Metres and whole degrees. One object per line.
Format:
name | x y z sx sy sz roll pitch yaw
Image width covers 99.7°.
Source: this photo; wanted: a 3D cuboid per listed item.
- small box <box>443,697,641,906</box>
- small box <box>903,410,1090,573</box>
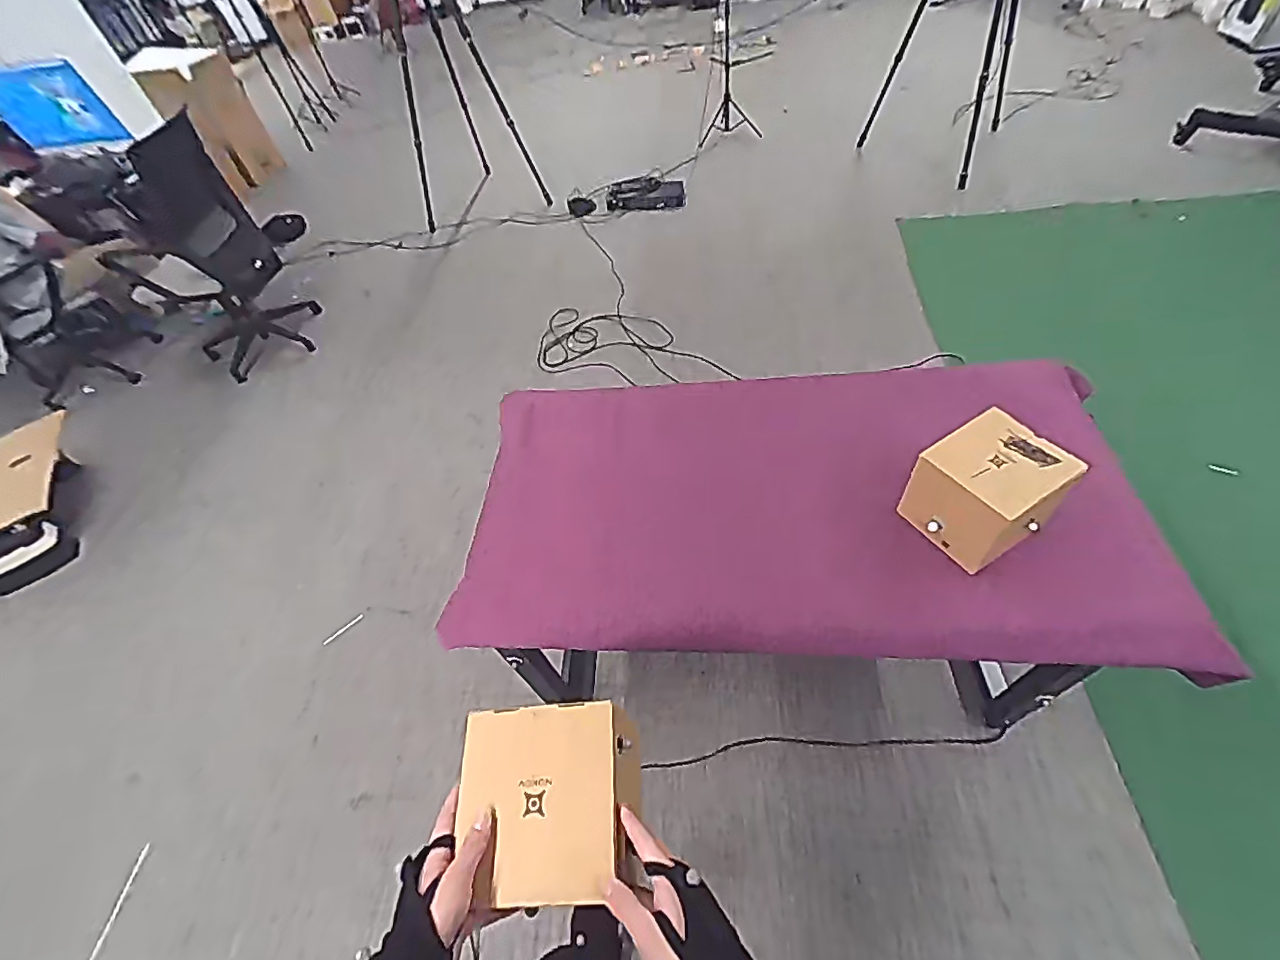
small box | -0.094 0.355 0.606 0.168 0.176 0.179 -7 56 7
small box | 0.575 0.022 0.902 0.179 0.176 0.168 -29 53 -12
